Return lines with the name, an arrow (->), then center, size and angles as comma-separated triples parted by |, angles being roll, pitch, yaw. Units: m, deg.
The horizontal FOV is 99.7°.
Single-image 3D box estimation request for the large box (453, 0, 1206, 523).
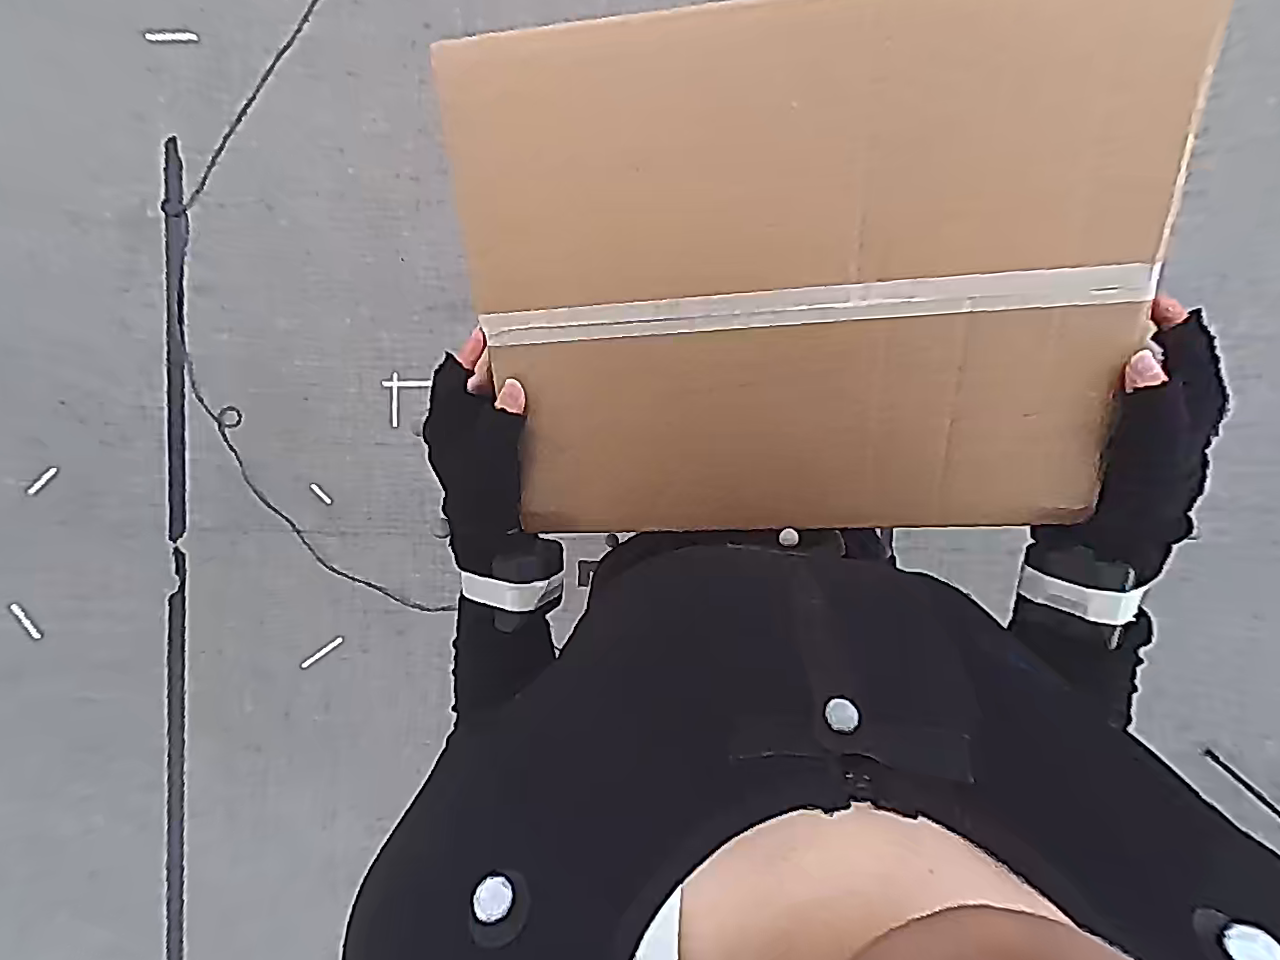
large box -> 0.112, -0.171, 0.481 | 0.408, 0.320, 0.320 | -1, 114, 7
